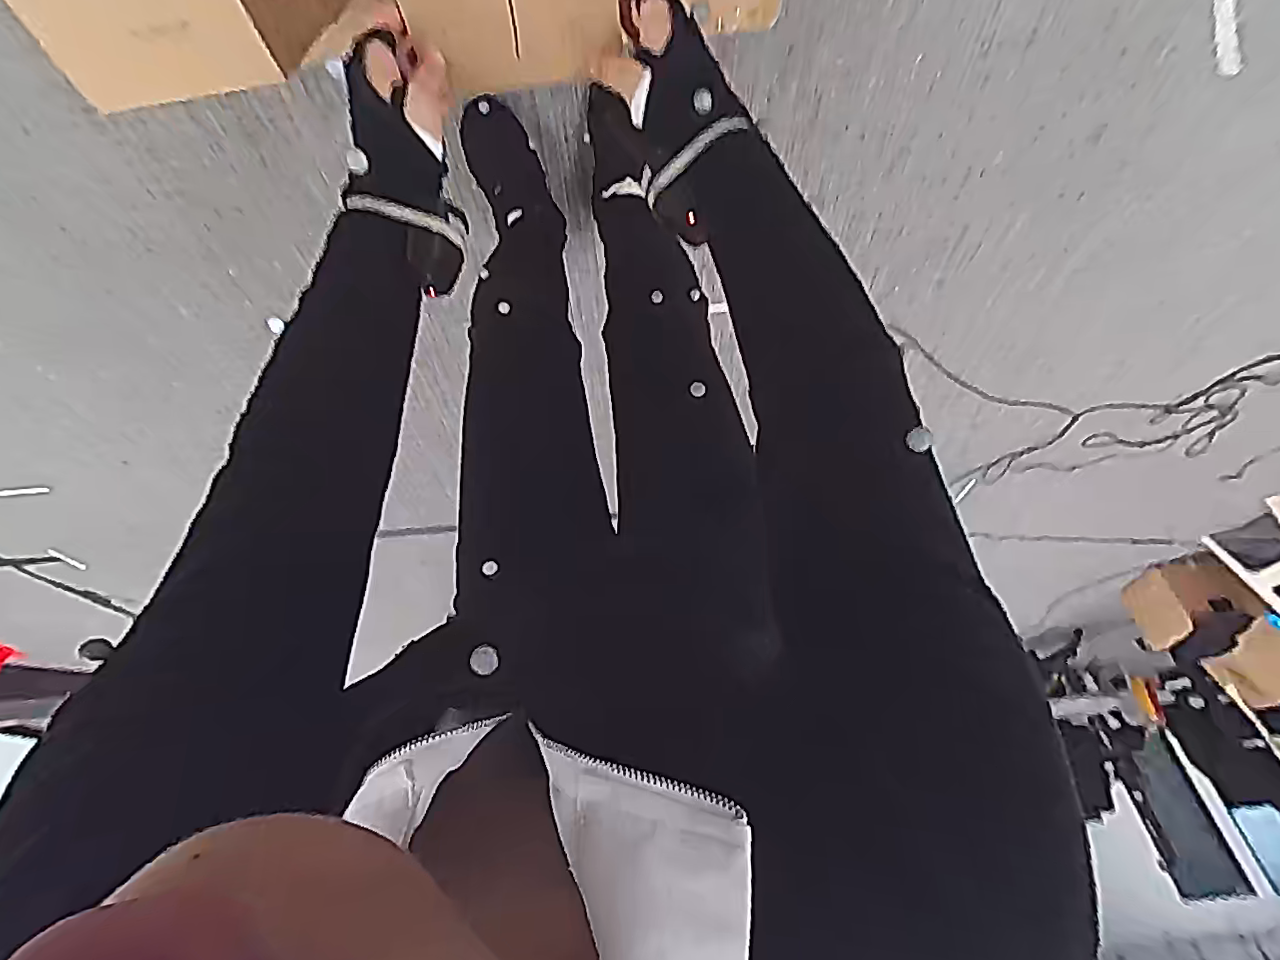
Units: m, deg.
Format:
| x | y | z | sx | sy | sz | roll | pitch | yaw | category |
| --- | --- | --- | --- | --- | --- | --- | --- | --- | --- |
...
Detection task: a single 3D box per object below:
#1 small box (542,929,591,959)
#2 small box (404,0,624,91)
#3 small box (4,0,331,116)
| x | y | z | sx | sy | sz | roll | pitch | yaw | category |
| --- | --- | --- | --- | --- | --- | --- | --- | --- | --- |
| -0.278 | 1.845 | 2.070 | 0.168 | 0.176 | 0.179 | -6 | 148 | 3 | small box |
| -0.106 | -0.450 | 0.429 | 0.168 | 0.176 | 0.179 | -6 | 147 | 1 | small box |
| -0.380 | -0.425 | 0.418 | 0.168 | 0.176 | 0.179 | -7 | 146 | 4 | small box |
